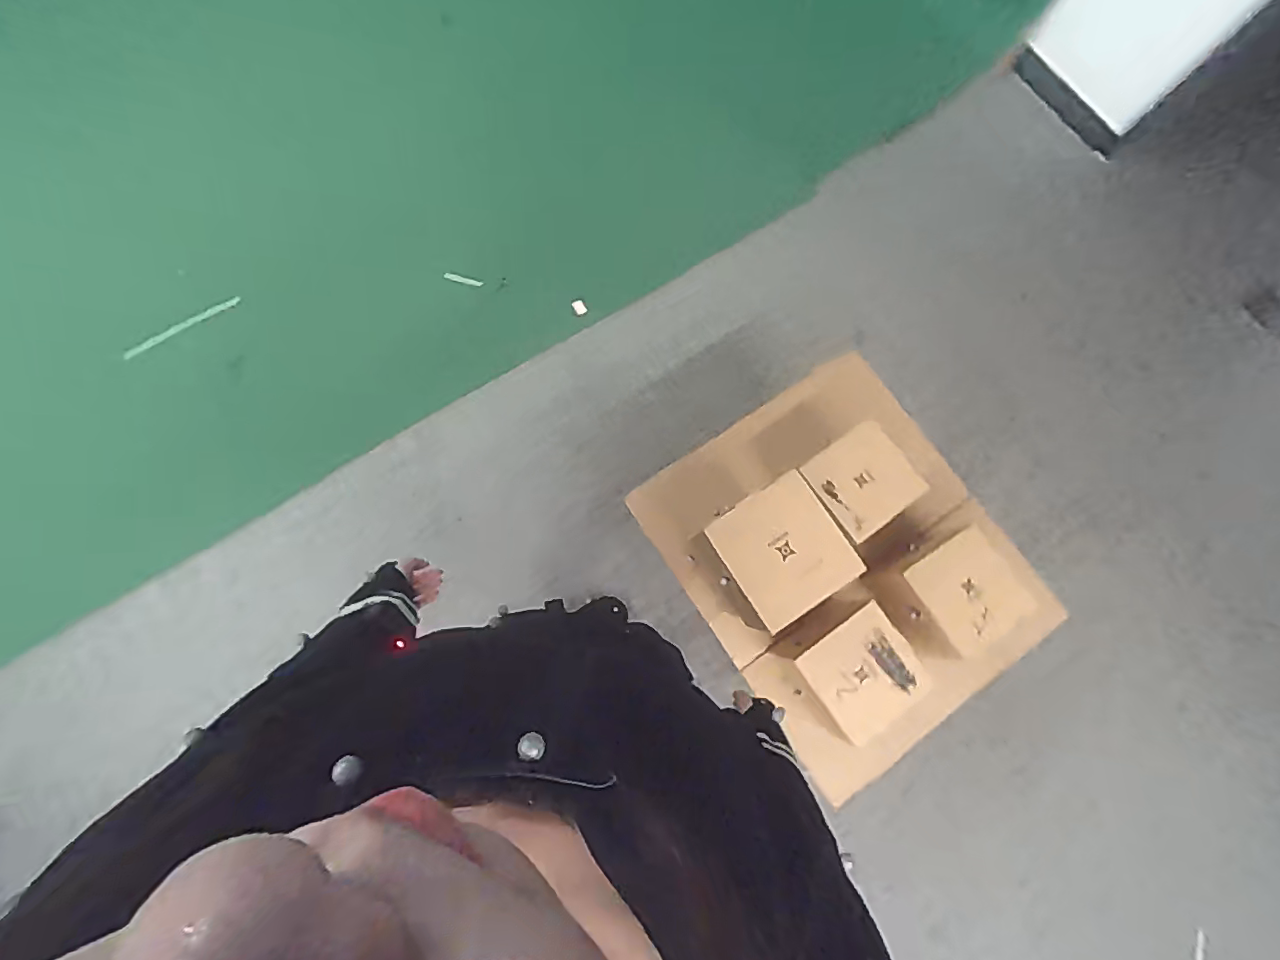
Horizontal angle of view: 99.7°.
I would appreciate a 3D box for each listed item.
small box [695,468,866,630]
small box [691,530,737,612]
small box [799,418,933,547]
[{"bbox_3d":[0.199,0.110,0.828,0.168,0.176,0.179,-31,81,-6],"label":"small box"},{"bbox_3d":[0.206,0.132,0.990,0.179,0.176,0.168,-31,80,-8],"label":"small box"},{"bbox_3d":[0.394,0.017,1.019,0.179,0.176,0.168,-34,79,-9],"label":"small box"}]
